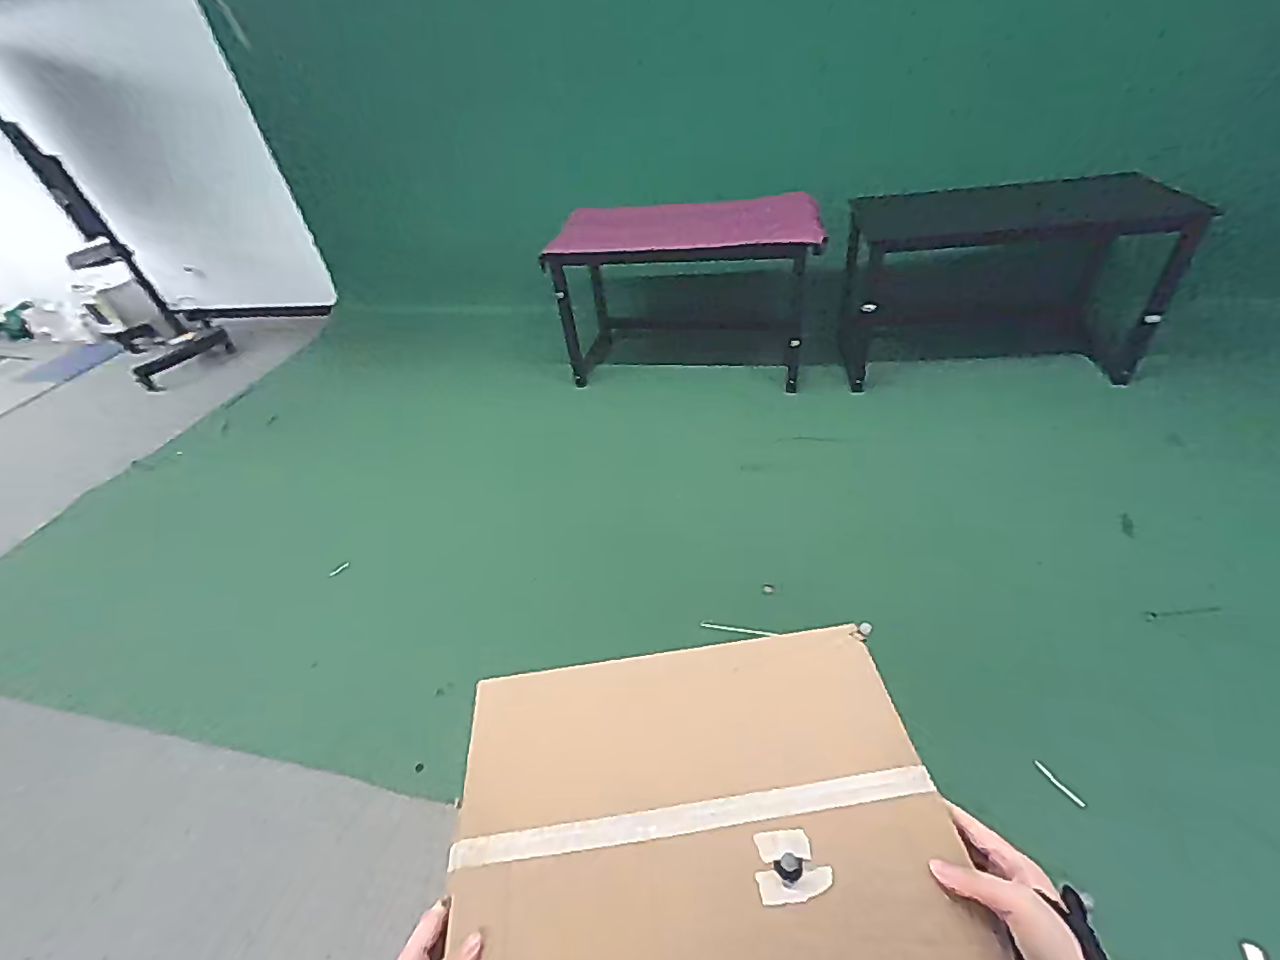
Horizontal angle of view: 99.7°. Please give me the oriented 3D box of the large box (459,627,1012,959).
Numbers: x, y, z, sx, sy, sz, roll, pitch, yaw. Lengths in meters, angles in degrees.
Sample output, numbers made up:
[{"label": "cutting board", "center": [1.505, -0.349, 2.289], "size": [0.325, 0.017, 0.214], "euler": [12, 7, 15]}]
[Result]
[{"label": "large box", "center": [0.062, 0.396, 0.564], "size": [0.408, 0.320, 0.320], "euler": [-7, 42, -1]}]
